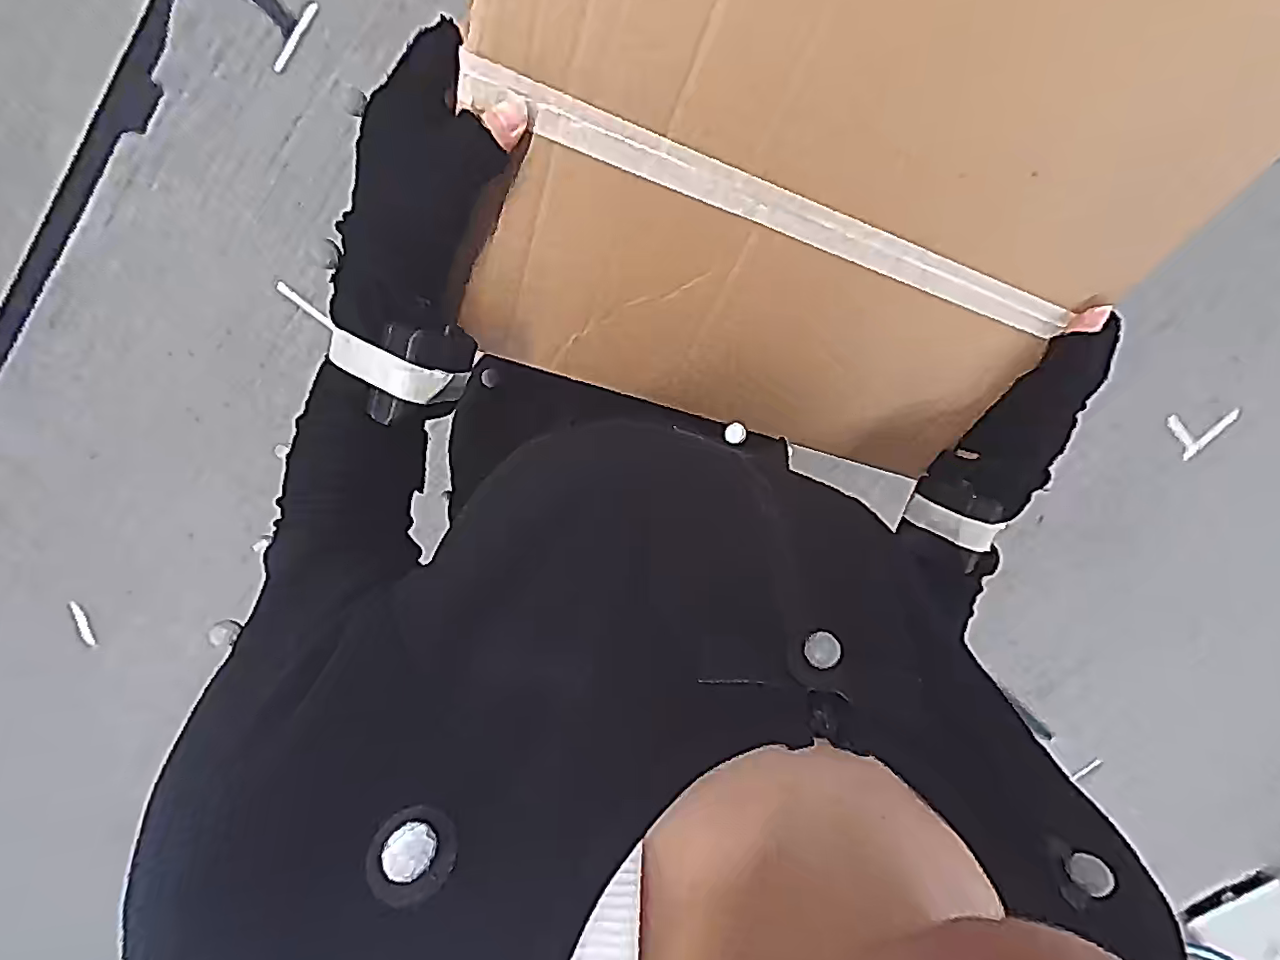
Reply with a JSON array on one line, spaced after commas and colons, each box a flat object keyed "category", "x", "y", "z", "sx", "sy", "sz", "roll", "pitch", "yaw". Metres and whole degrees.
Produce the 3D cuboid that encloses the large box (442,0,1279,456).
[{"category": "large box", "x": 0.095, "y": -0.265, "z": 0.421, "sx": 0.408, "sy": 0.320, "sz": 0.320, "roll": 13, "pitch": 136, "yaw": -15}]
